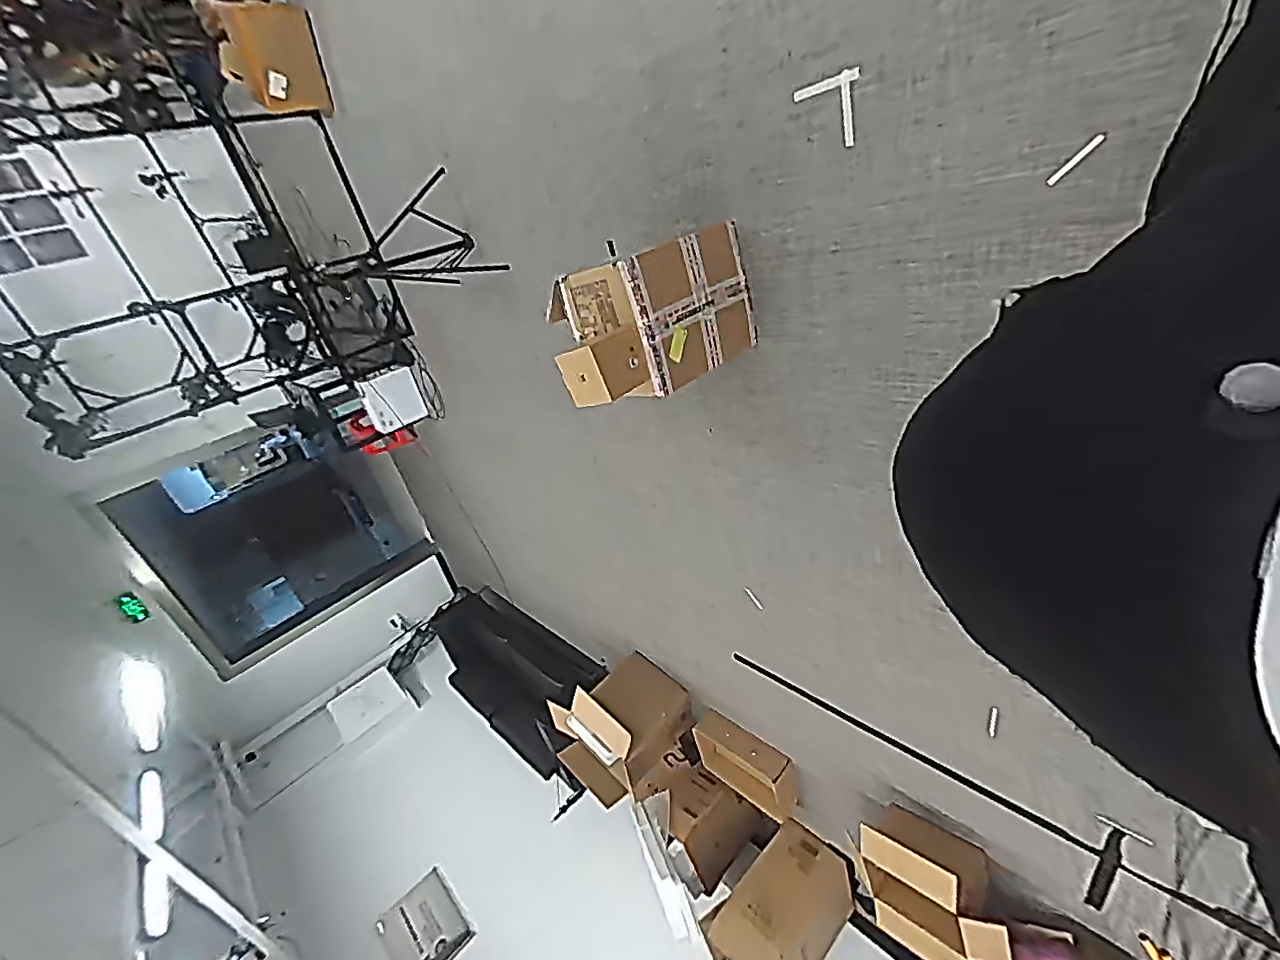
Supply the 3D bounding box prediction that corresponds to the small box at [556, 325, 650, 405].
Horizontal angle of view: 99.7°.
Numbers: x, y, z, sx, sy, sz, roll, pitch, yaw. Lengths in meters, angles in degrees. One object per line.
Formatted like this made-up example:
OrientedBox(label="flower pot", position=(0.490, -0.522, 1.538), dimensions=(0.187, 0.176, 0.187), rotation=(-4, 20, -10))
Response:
OrientedBox(label="small box", position=(-0.104, -0.330, 1.561), dimensions=(0.179, 0.176, 0.168), rotation=(-1, 119, 48))
